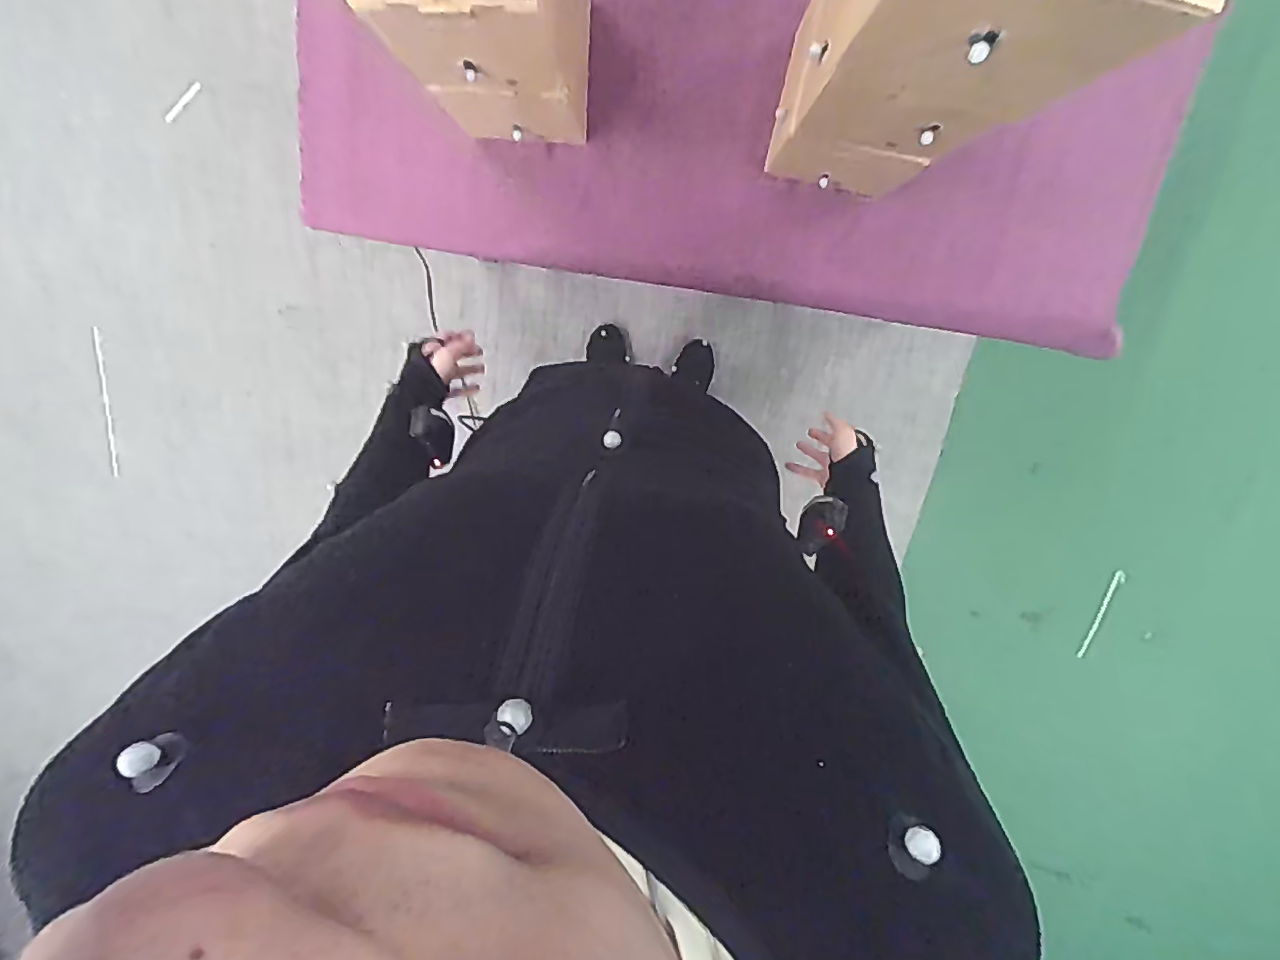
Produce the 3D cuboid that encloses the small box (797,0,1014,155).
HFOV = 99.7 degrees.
[{"bbox_3d":[0.259,-0.433,0.508,0.168,0.176,0.179,11,106,-1],"label":"small box"}]

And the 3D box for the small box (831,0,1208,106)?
[{"bbox_3d":[0.253,-0.378,0.354,0.179,0.176,0.168,14,106,0],"label":"small box"}]

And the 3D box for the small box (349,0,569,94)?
[{"bbox_3d":[-0.162,-0.501,0.510,0.168,0.176,0.179,2,106,2],"label":"small box"}]

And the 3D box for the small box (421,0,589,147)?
[{"bbox_3d":[-0.158,-0.542,0.668,0.168,0.176,0.179,5,106,2],"label":"small box"}]
